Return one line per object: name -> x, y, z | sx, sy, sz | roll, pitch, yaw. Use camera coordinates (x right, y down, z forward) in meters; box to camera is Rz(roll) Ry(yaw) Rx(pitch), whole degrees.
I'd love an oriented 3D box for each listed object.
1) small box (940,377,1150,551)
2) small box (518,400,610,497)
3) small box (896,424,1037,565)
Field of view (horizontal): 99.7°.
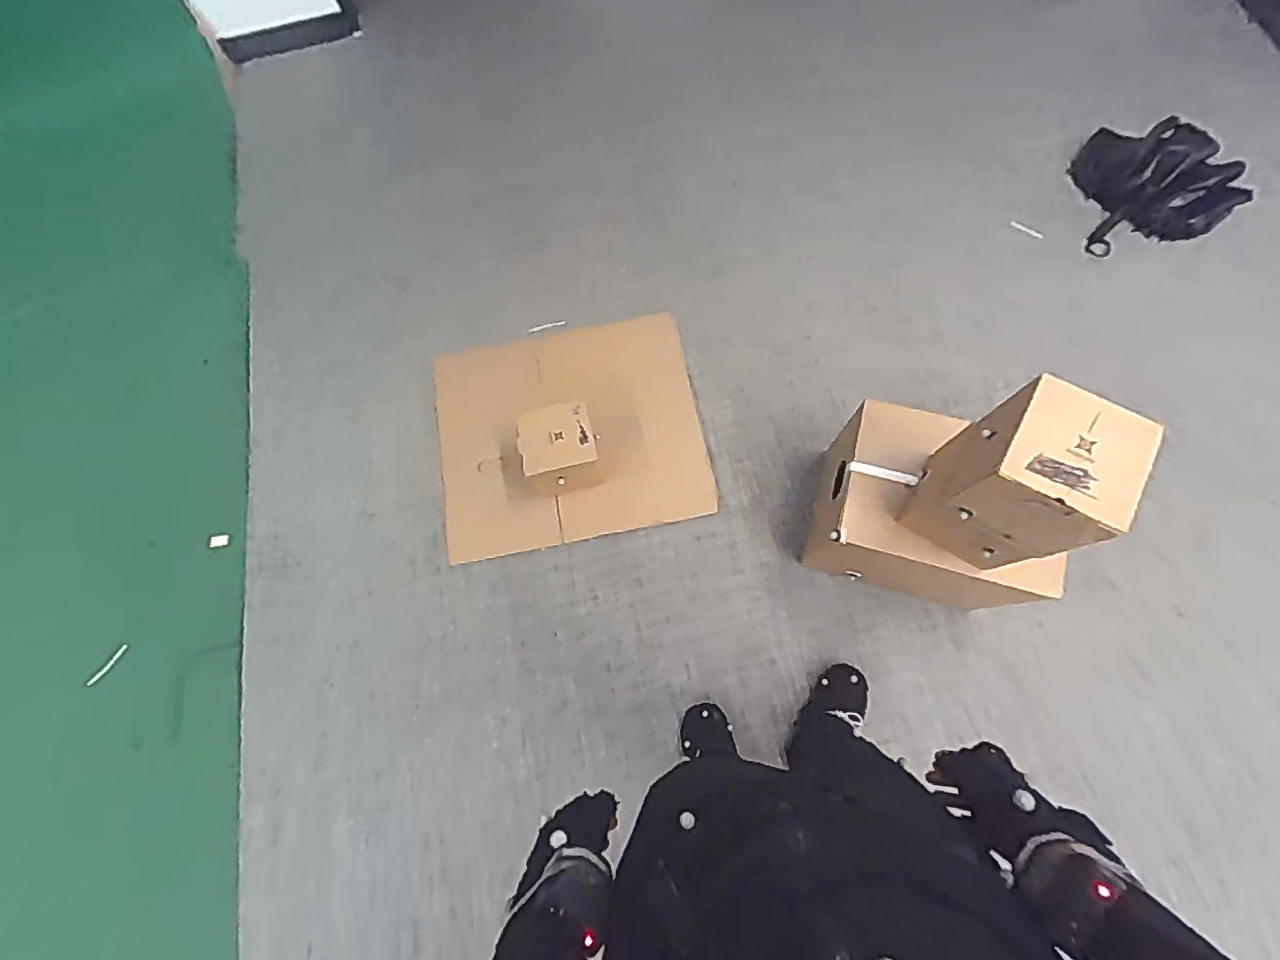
small box -> 0.578, -0.013, 0.798 | 0.168, 0.176, 0.179 | 27, 76, 11
small box -> -0.185, -0.071, 1.353 | 0.179, 0.176, 0.168 | -16, 70, 0
small box -> 0.592, 0.035, 0.954 | 0.179, 0.176, 0.168 | 30, 76, 14
